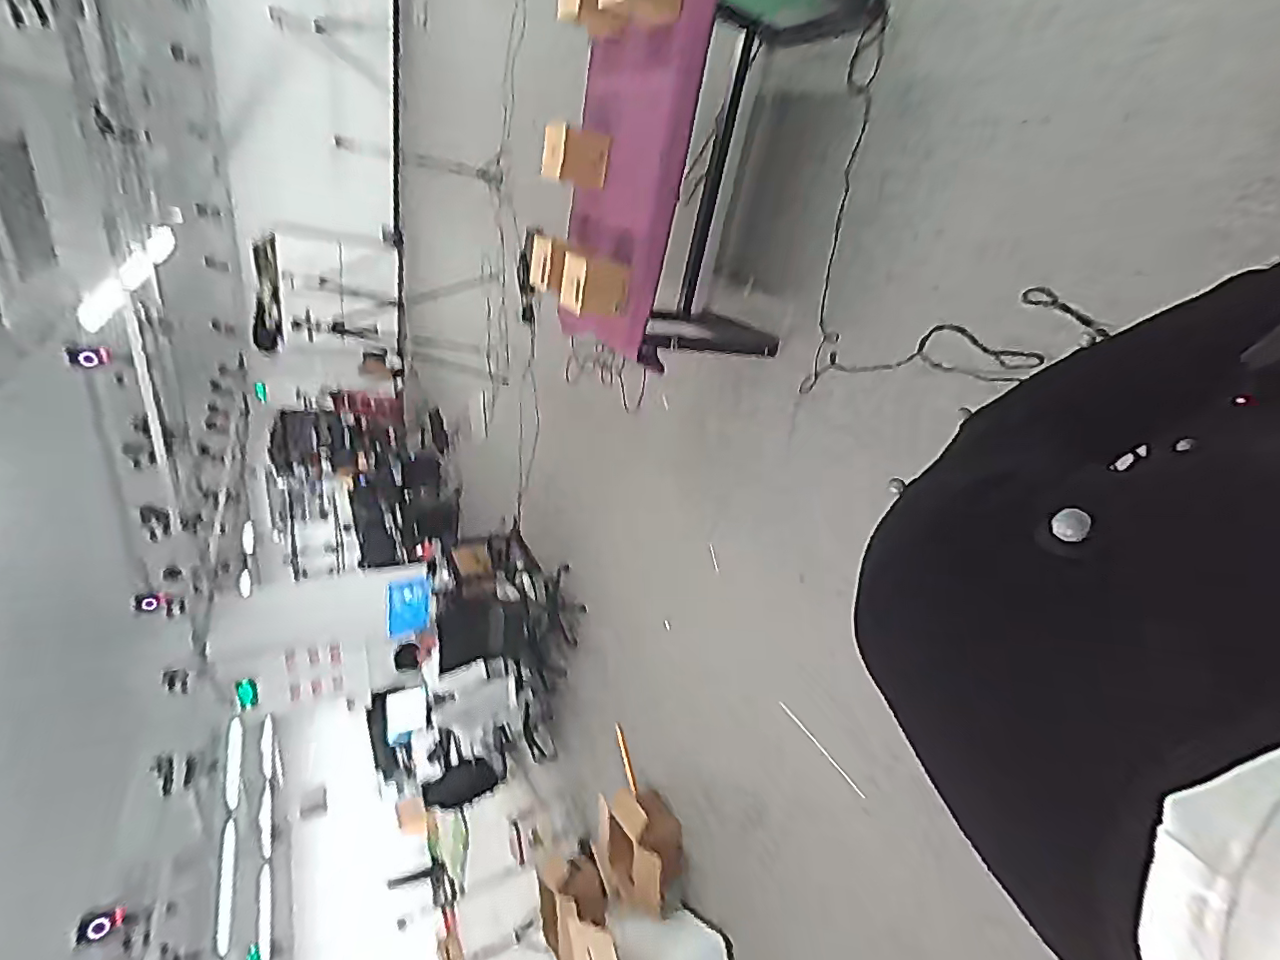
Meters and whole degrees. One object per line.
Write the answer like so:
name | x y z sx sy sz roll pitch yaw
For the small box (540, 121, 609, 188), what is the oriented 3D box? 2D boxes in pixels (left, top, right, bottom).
small box | -0.228 -1.129 1.877 0.179 0.176 0.168 44 129 45

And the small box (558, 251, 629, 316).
small box | -0.155 -0.656 1.812 0.179 0.176 0.168 45 130 47

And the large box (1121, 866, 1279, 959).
large box | 1.261 0.957 1.005 0.408 0.320 0.320 -56 49 44

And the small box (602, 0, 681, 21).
small box | 0.016 -1.368 1.450 0.179 0.176 0.168 49 134 47

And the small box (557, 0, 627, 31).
small box | -0.141 -1.529 1.678 0.179 0.176 0.168 43 132 46
